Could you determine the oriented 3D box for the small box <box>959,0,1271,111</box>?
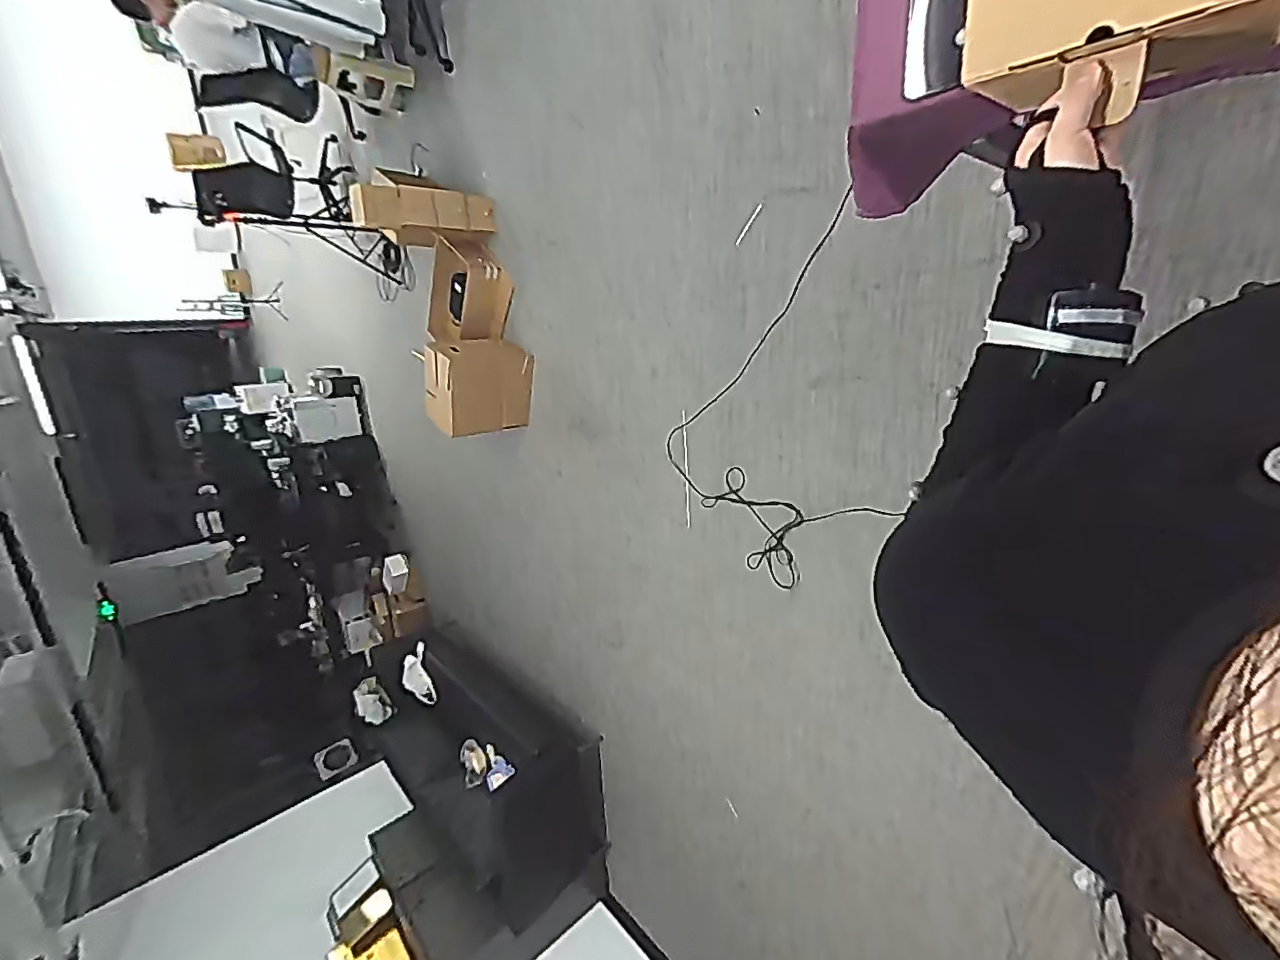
[{"bbox_3d":[0.356,-0.398,0.392,0.168,0.176,0.179,14,119,43],"label":"small box"}]
